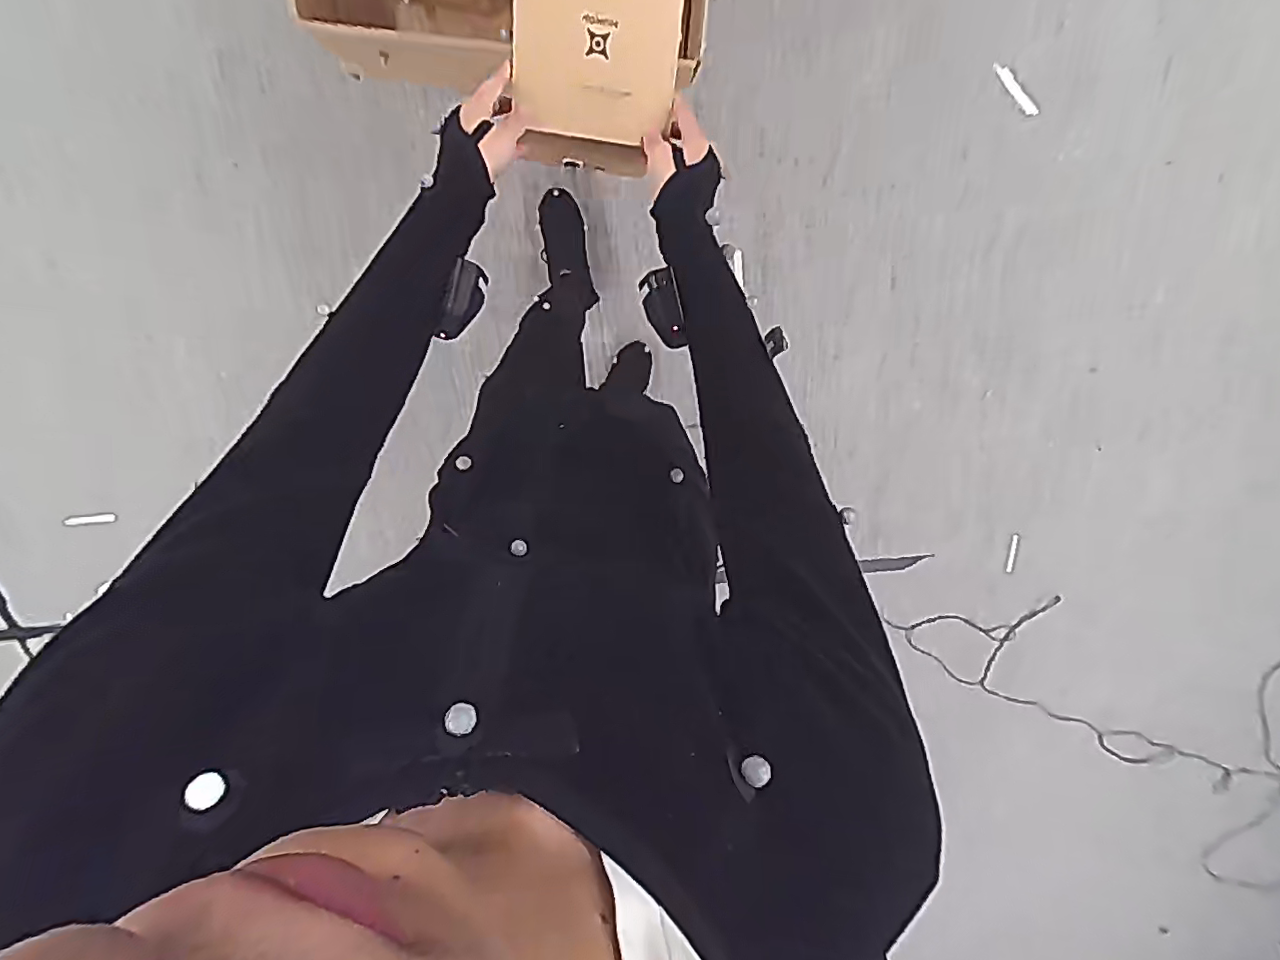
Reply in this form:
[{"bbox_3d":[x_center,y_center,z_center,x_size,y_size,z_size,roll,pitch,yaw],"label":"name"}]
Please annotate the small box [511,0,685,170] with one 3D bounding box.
[{"bbox_3d":[-0.053,-0.471,0.601,0.168,0.176,0.179,3,109,-10],"label":"small box"}]
